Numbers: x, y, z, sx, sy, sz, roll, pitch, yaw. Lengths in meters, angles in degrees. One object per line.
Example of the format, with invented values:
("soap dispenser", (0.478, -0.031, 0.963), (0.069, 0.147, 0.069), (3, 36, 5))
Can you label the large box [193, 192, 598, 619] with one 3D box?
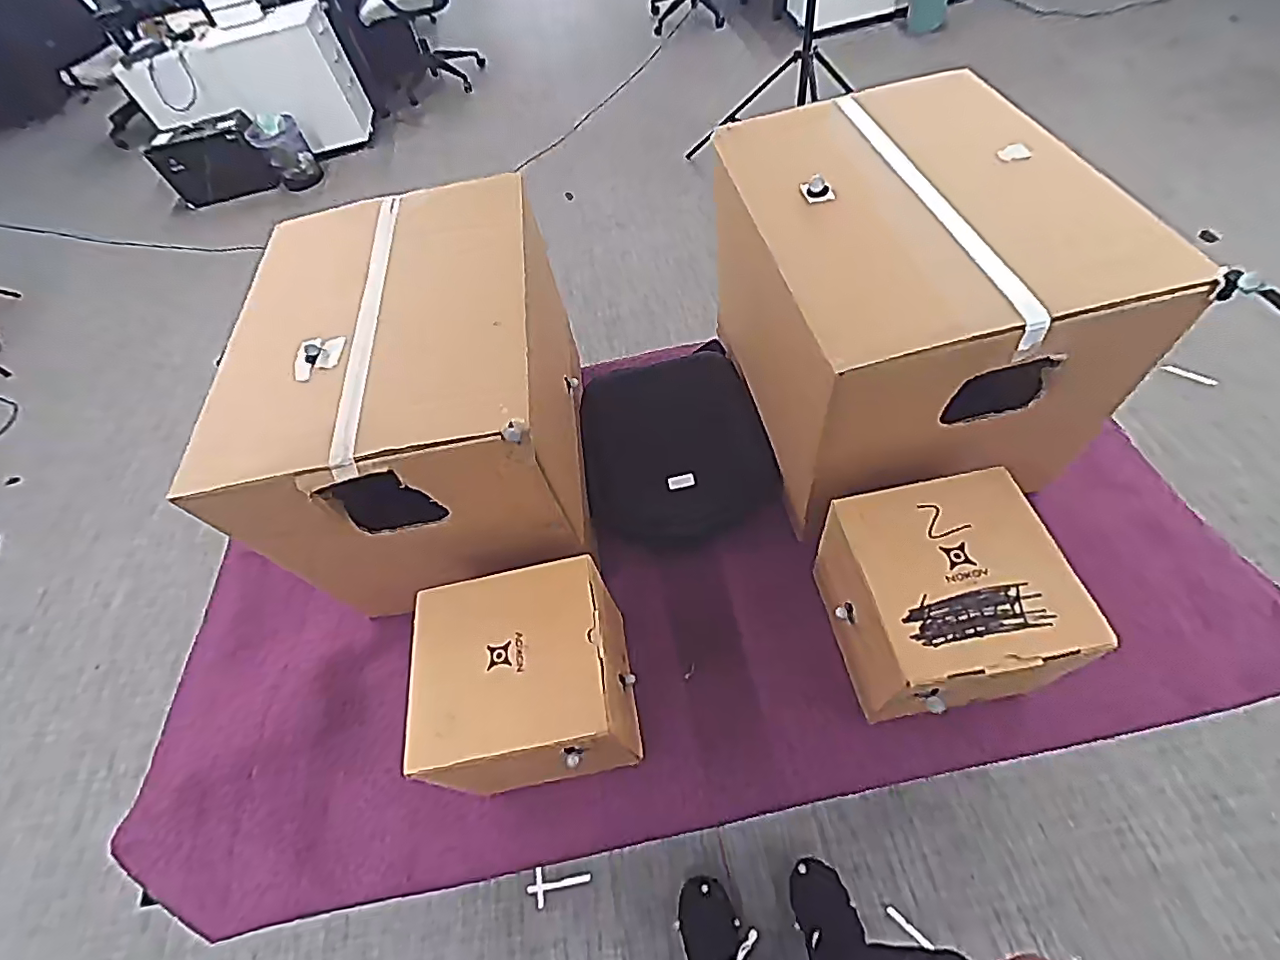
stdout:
("large box", (-0.249, -0.084, 0.688), (0.320, 0.320, 0.408), (-12, 58, 3))
